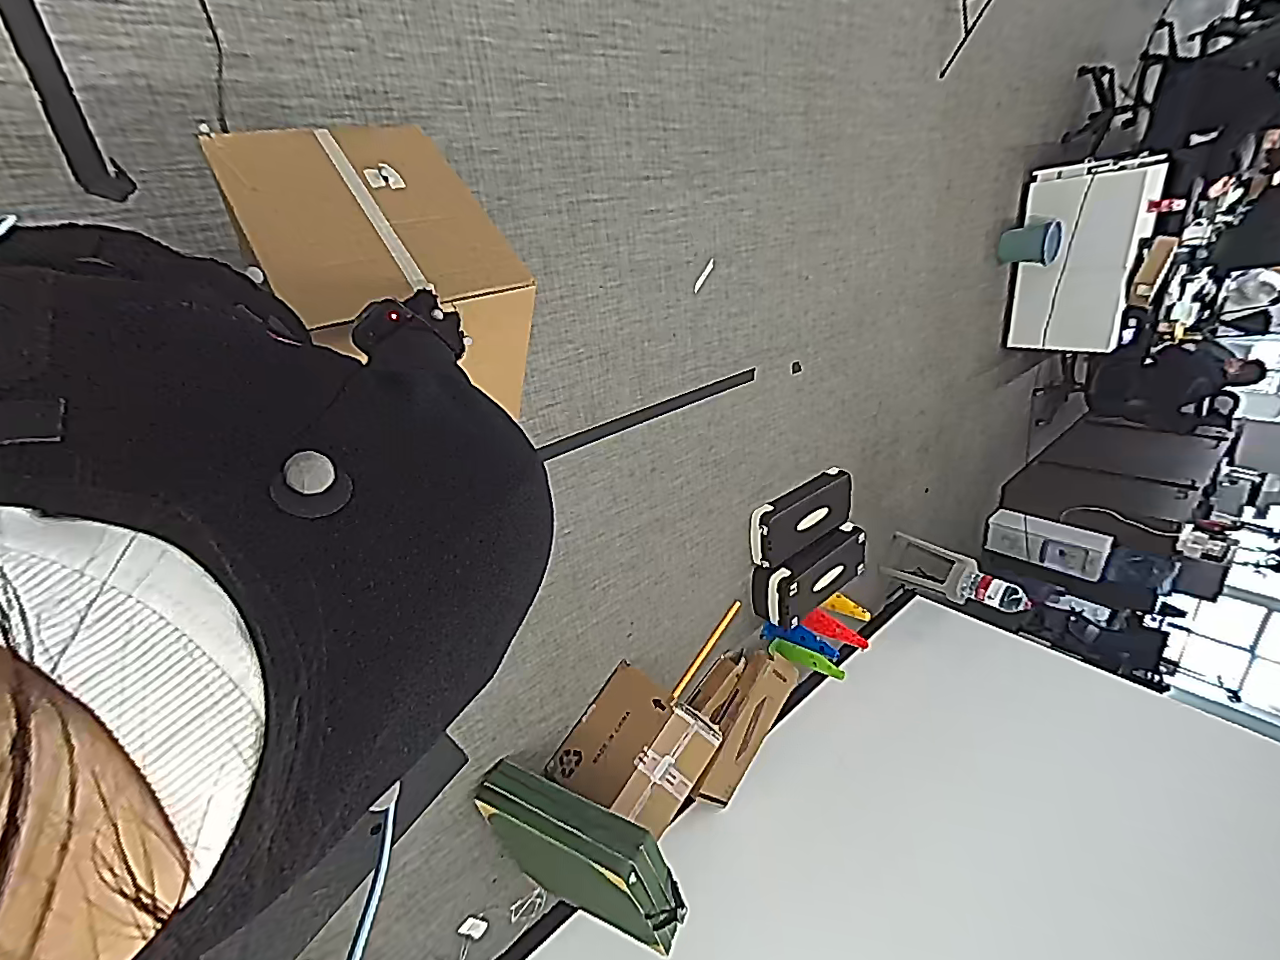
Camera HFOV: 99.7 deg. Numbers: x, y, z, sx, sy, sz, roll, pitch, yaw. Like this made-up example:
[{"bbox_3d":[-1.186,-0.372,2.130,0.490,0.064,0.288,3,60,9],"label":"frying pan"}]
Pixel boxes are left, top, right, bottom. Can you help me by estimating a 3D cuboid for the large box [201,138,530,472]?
[{"bbox_3d":[-0.426,-0.291,0.892,0.320,0.408,0.320,-25,157,-31],"label":"large box"}]
